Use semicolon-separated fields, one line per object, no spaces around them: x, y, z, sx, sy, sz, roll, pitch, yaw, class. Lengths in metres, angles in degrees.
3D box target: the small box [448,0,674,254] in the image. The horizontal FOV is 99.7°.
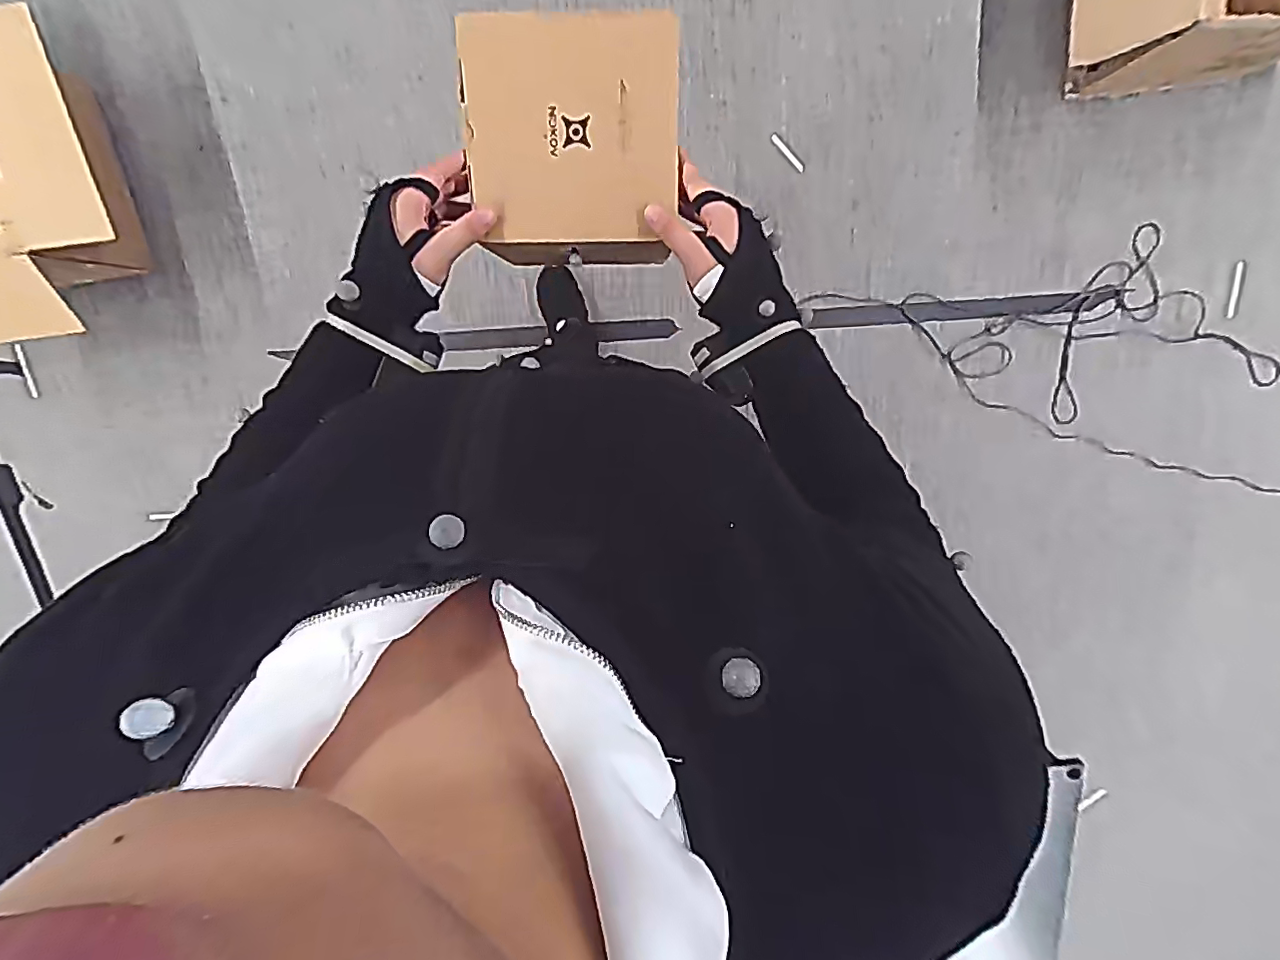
-0.061;-0.313;0.510;0.179;0.176;0.168;-2;106;-1;small box
